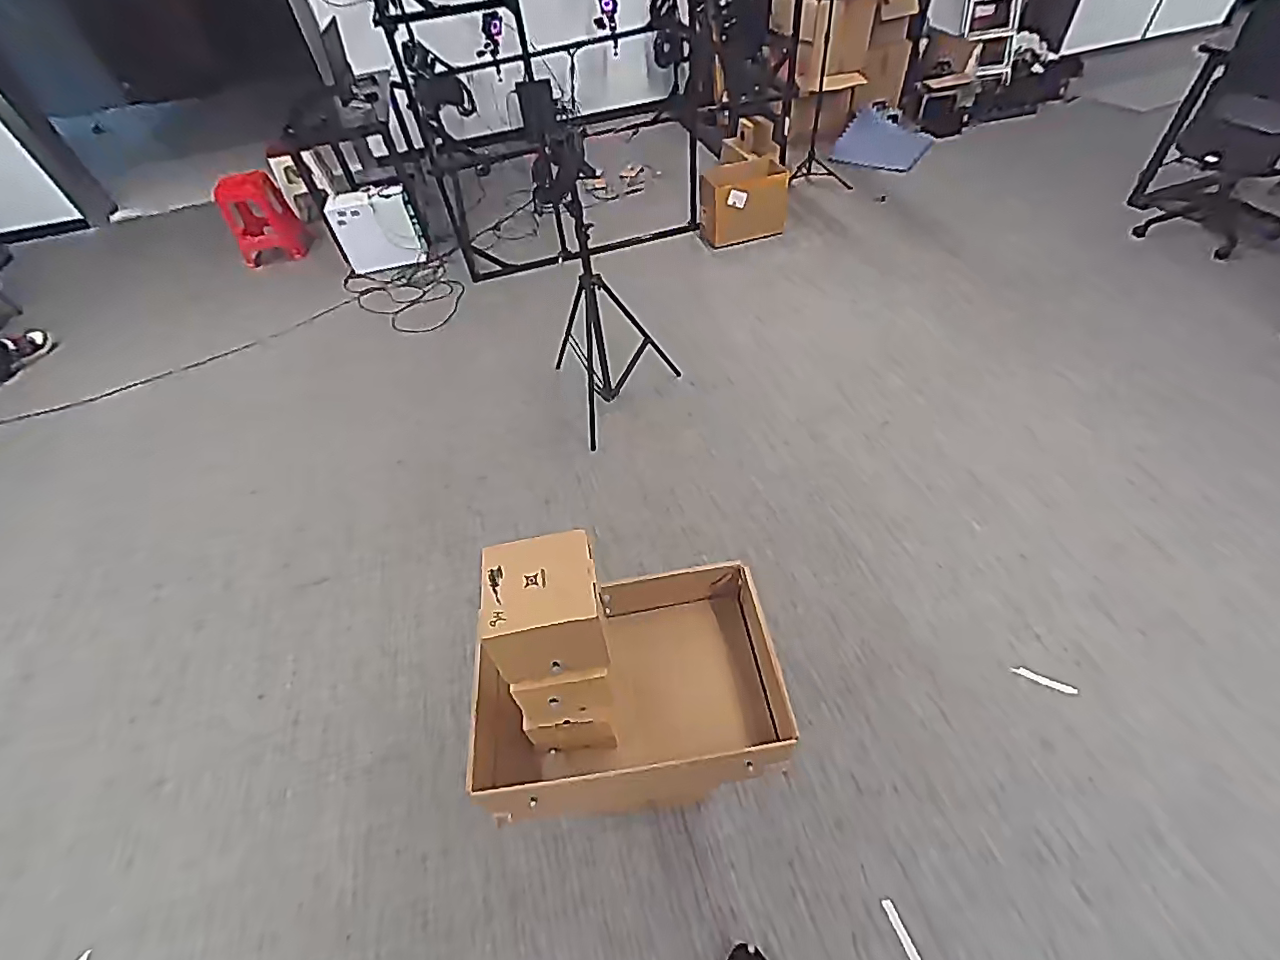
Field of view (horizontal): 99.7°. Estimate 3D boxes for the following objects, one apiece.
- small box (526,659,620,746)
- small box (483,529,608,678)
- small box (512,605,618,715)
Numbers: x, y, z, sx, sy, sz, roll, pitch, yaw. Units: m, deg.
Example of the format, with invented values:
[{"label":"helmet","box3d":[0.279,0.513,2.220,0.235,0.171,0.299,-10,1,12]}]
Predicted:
[{"label":"small box","box3d":[-0.133,0.438,1.124,0.168,0.176,0.179,-6,48,0]},{"label":"small box","box3d":[-0.148,0.206,0.895,0.179,0.176,0.168,-9,47,-4]},{"label":"small box","box3d":[-0.136,0.322,1.010,0.168,0.176,0.179,-9,48,-3]}]
